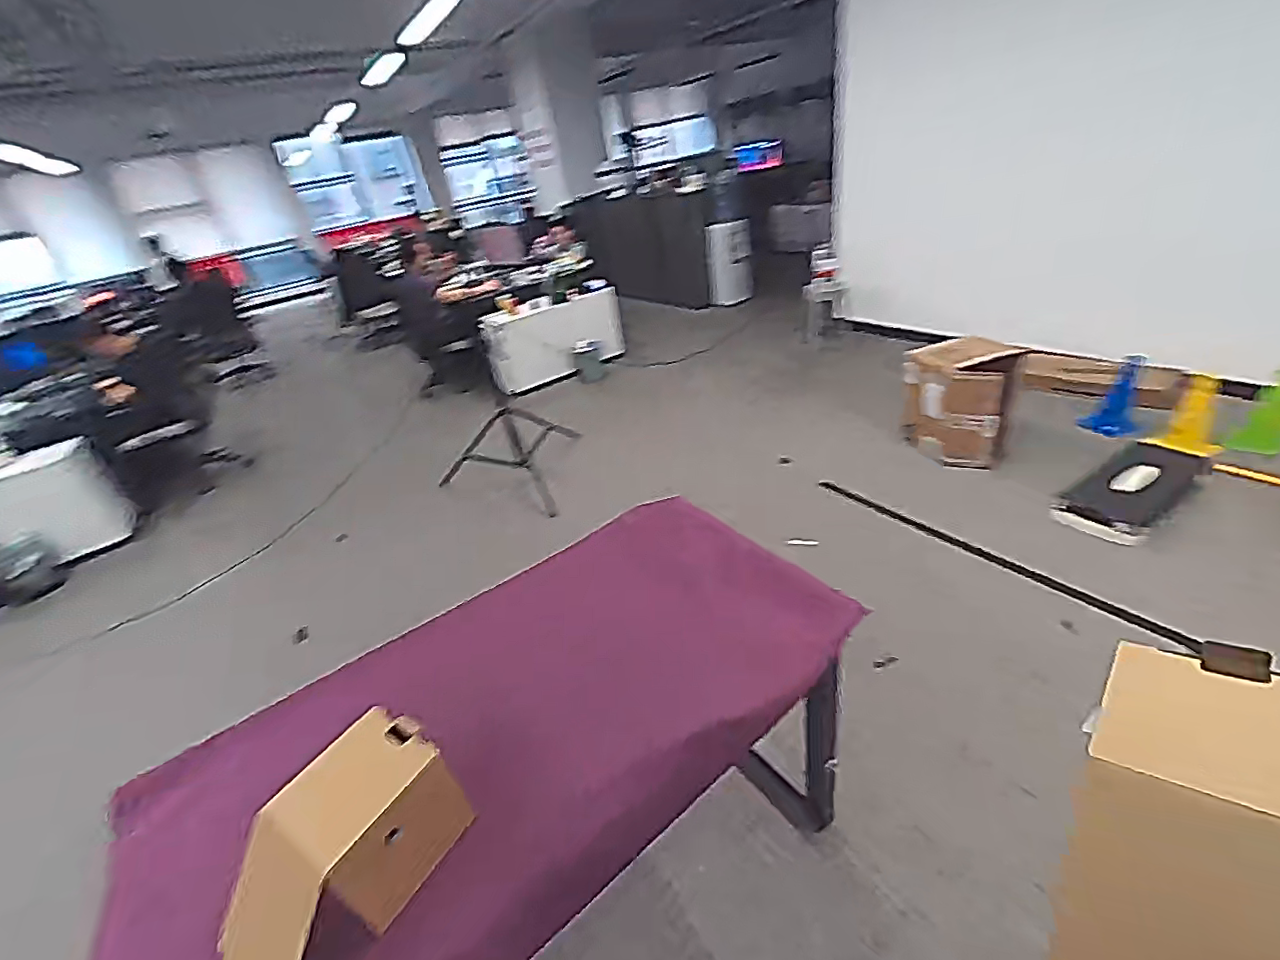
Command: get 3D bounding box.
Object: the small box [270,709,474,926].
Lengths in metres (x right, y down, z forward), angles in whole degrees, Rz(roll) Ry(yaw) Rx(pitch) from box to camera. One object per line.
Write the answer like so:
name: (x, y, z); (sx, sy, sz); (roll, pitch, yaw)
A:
small box: (-0.371, 0.478, 0.776); (0.168, 0.176, 0.179); (12, 37, 33)
